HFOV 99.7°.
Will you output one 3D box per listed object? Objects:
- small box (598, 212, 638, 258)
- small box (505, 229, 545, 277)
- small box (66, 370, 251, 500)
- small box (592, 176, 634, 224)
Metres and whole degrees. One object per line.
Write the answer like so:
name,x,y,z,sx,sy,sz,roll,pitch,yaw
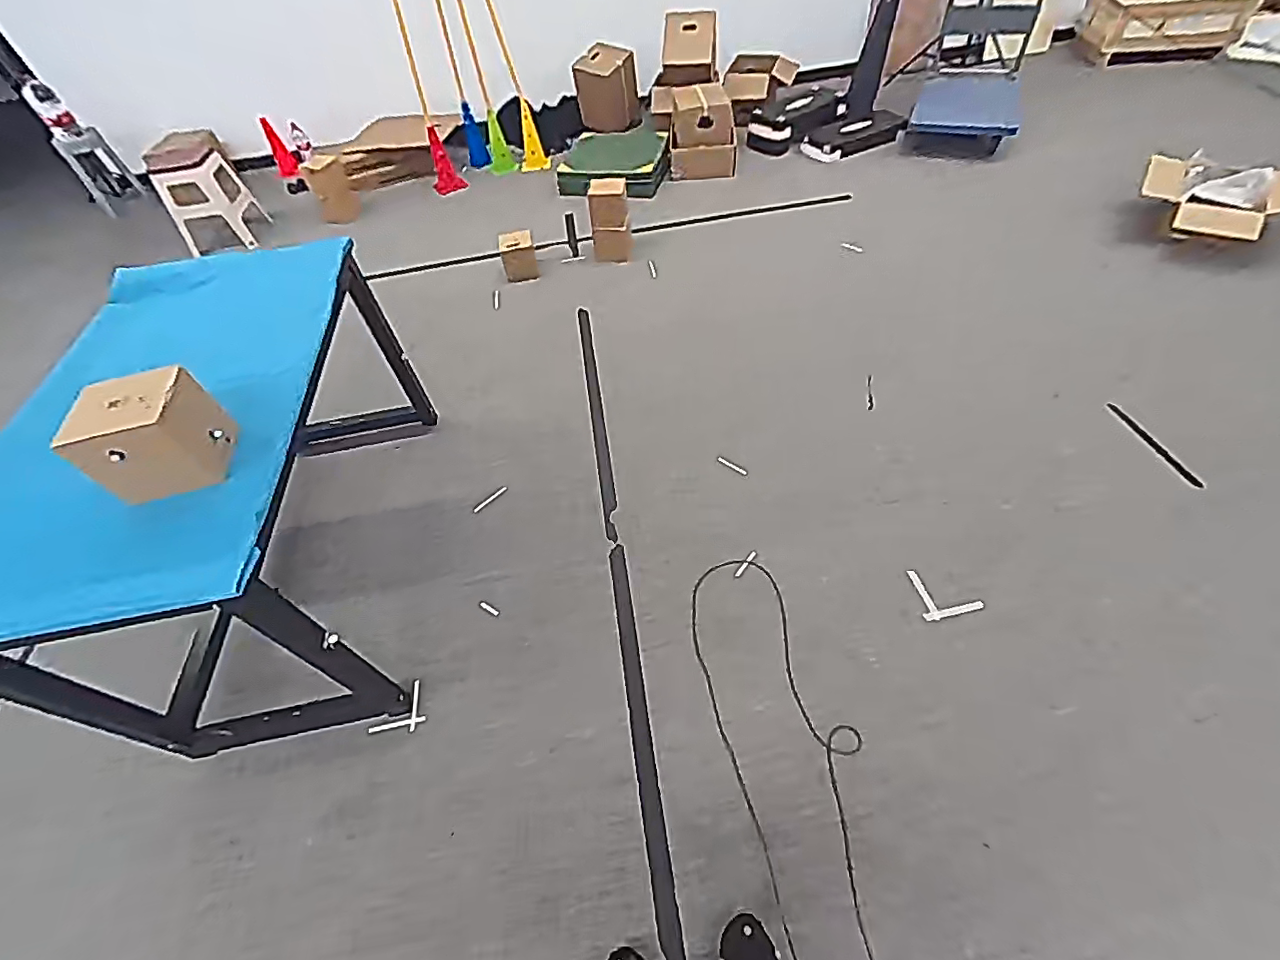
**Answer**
small box,-0.111,-1.278,2.824,0.179,0.176,0.168,3,51,7
small box,-0.590,-1.162,2.786,0.168,0.176,0.179,-12,50,-2
small box,-0.899,-0.080,1.032,0.179,0.176,0.168,-11,52,-4
small box,-0.132,-1.401,2.713,0.179,0.176,0.168,1,52,6
